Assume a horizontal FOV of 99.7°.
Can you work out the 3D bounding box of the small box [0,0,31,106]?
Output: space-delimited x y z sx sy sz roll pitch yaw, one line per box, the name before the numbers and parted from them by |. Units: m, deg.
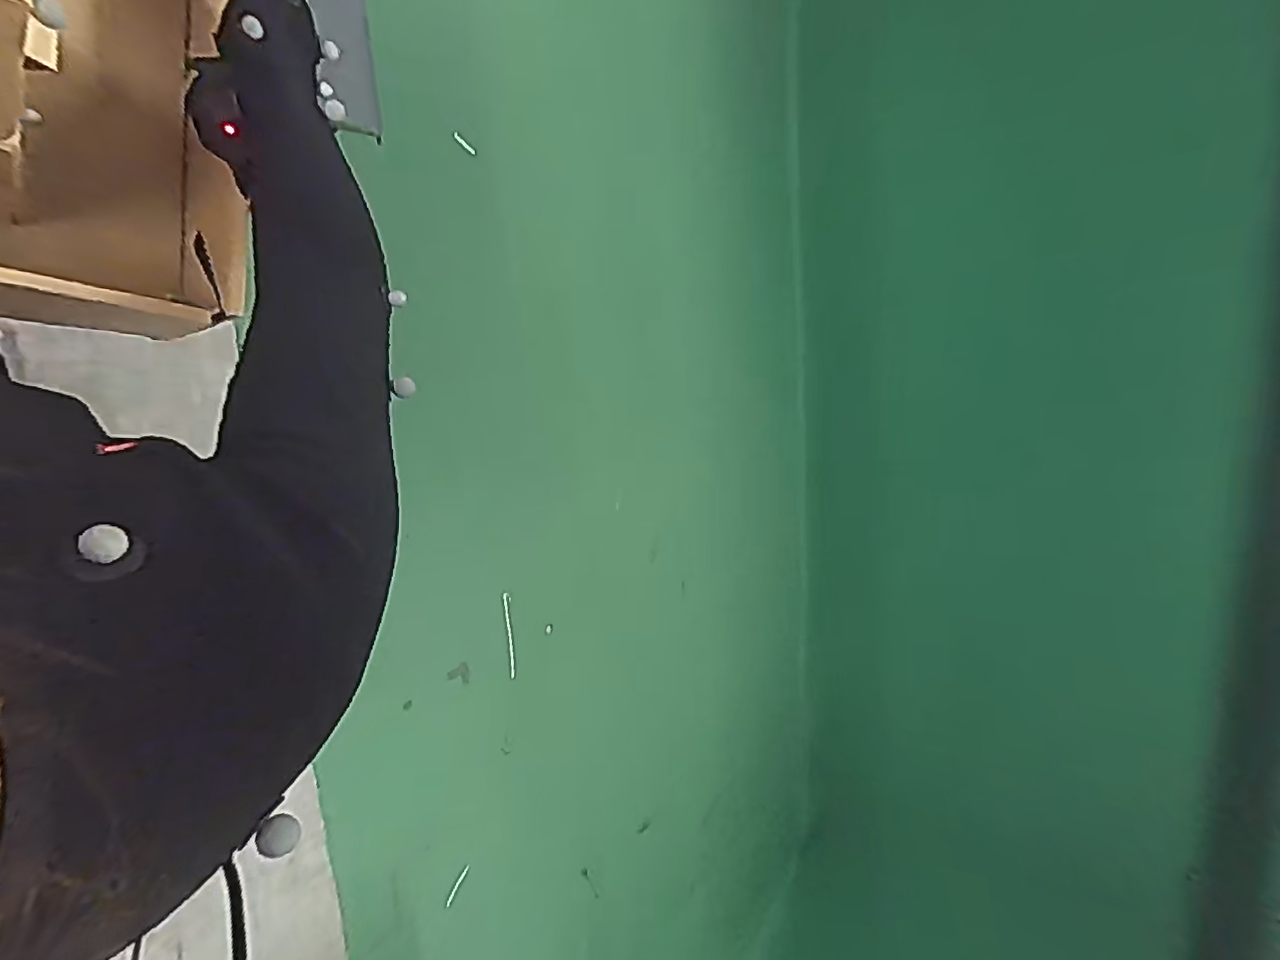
small box | -0.377 -0.294 0.216 0.179 0.176 0.168 -1 94 -53
